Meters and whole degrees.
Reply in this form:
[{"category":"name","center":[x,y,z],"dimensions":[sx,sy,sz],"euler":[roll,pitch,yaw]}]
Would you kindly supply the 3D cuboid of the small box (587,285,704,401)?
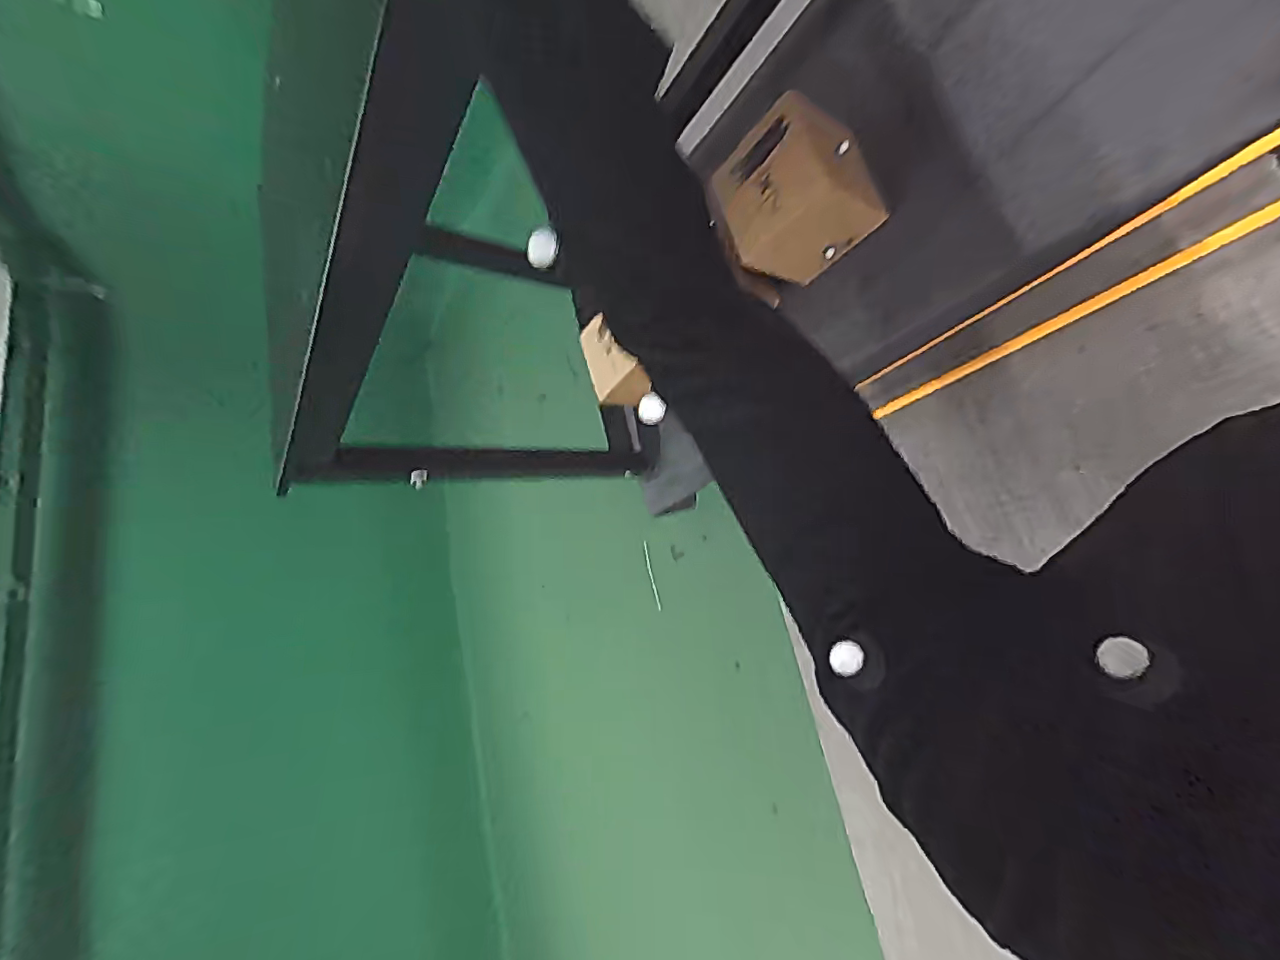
[{"category":"small box","center":[0.011,-0.287,1.175],"dimensions":[0.168,0.176,0.179],"euler":[-37,63,47]}]
